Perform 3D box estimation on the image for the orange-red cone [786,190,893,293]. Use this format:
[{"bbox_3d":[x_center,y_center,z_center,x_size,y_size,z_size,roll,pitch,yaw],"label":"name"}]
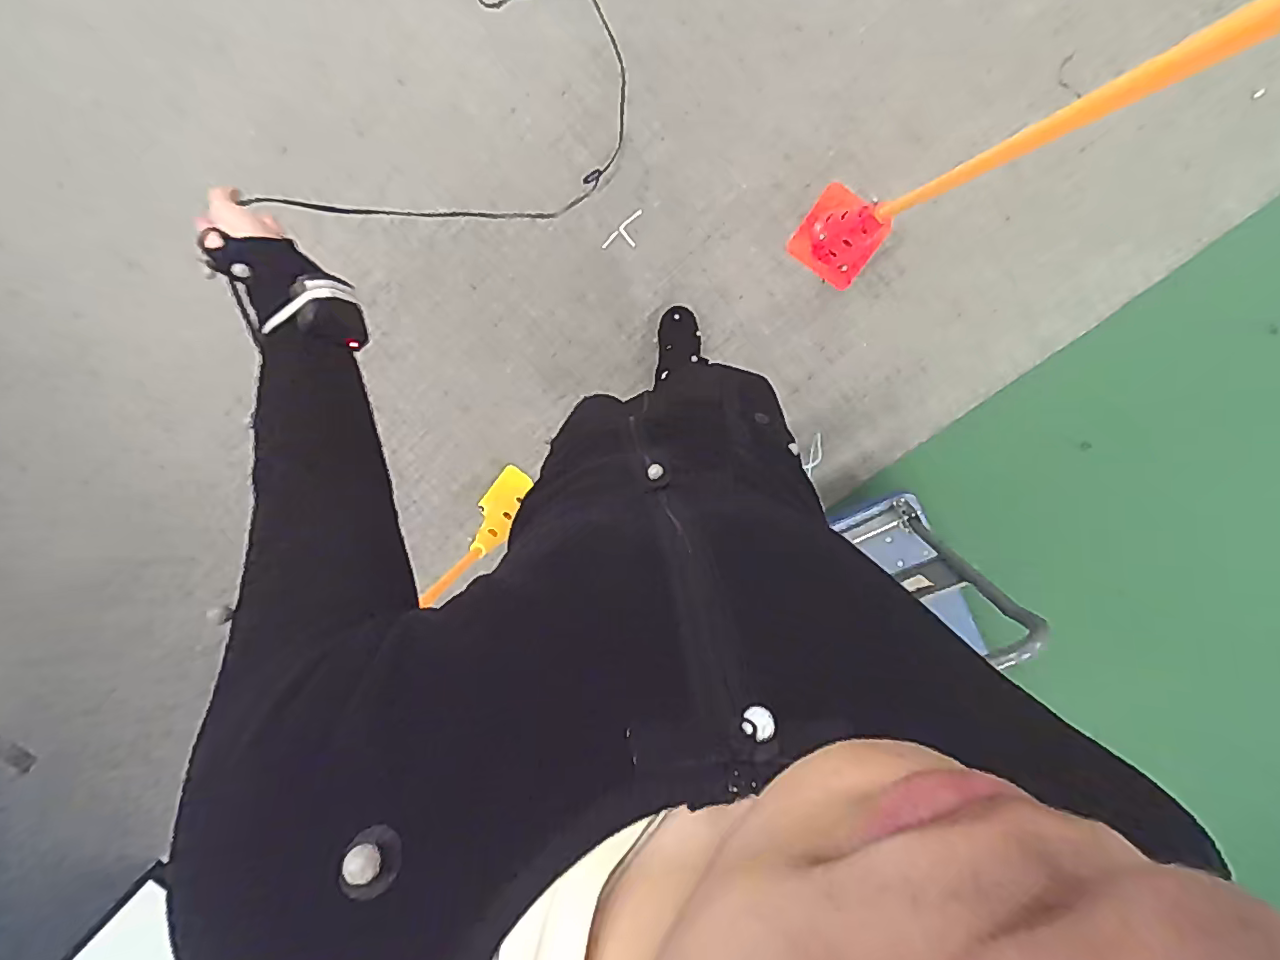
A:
[{"bbox_3d":[0.496,-0.570,1.240,0.198,0.360,0.199,35,105,-6],"label":"orange-red cone"}]
